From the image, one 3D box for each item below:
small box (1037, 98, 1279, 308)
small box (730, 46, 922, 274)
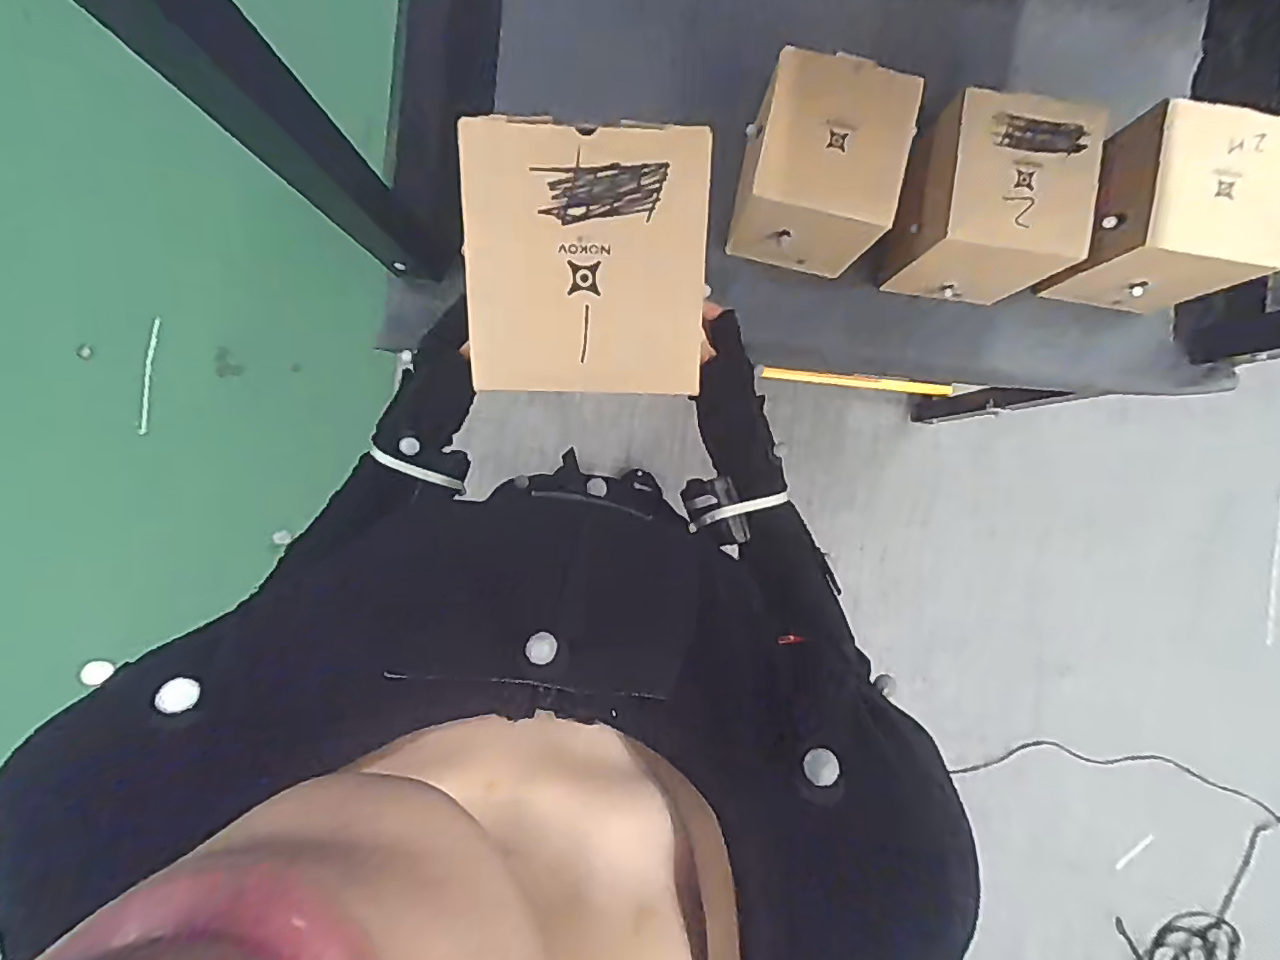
[{"bbox_3d":[0.659,-0.339,0.697,0.168,0.176,0.179,9,90,-2],"label":"small box"},{"bbox_3d":[0.220,-0.387,0.689,0.168,0.176,0.179,12,90,-1],"label":"small box"}]
